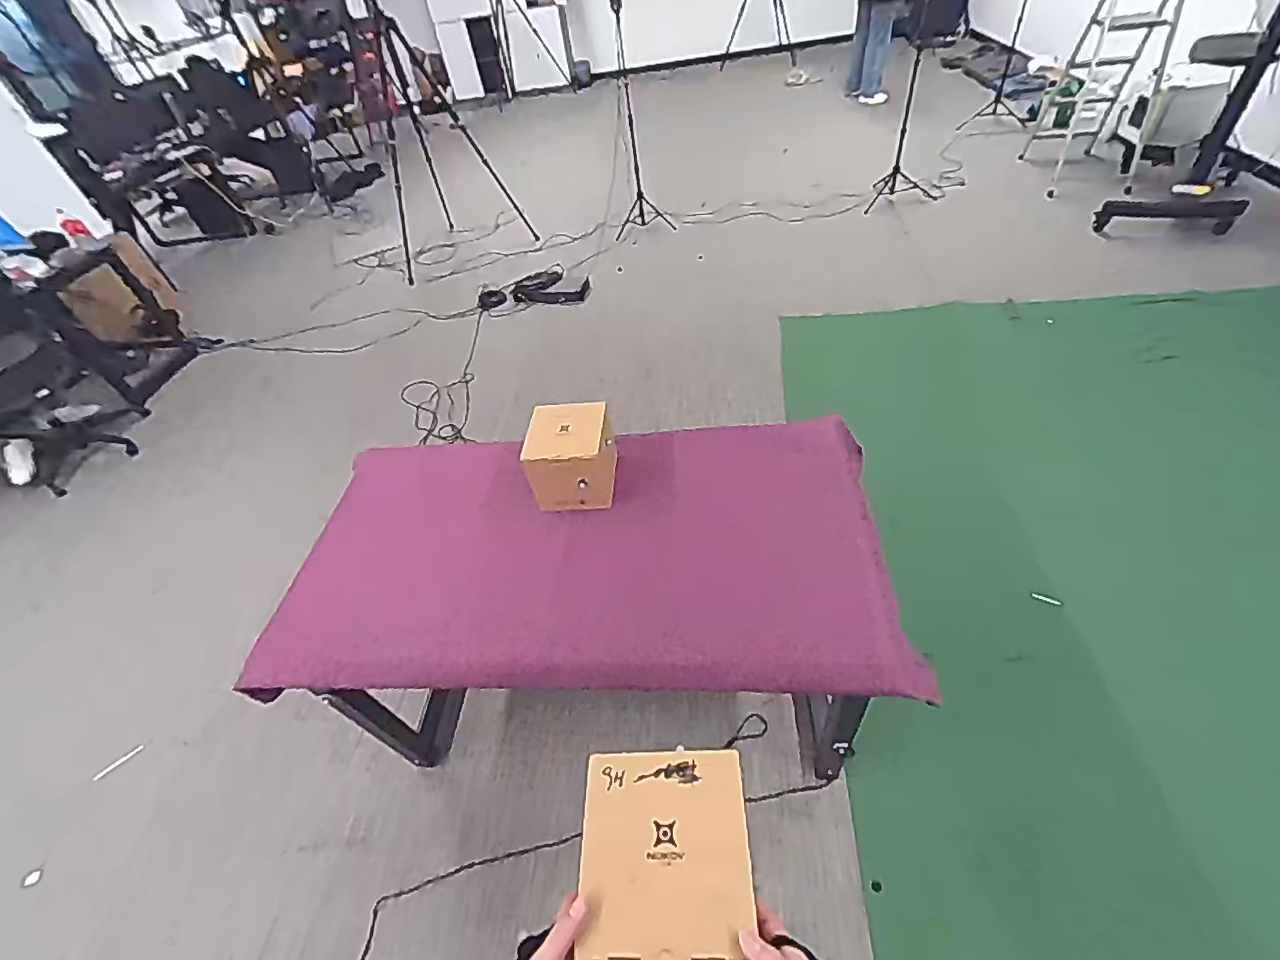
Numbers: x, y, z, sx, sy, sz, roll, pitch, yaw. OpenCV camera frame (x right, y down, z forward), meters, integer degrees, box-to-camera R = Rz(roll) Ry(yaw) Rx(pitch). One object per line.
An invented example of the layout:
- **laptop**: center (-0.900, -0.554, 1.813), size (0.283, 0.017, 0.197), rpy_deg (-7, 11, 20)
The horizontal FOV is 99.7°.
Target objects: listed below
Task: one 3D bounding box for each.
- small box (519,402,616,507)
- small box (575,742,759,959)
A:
- **small box**: center (-0.153, -0.050, 1.212), size (0.168, 0.176, 0.179), rpy_deg (-3, 46, 8)
- **small box**: center (0.035, 0.407, 0.583), size (0.168, 0.176, 0.179), rpy_deg (-5, 43, 6)
